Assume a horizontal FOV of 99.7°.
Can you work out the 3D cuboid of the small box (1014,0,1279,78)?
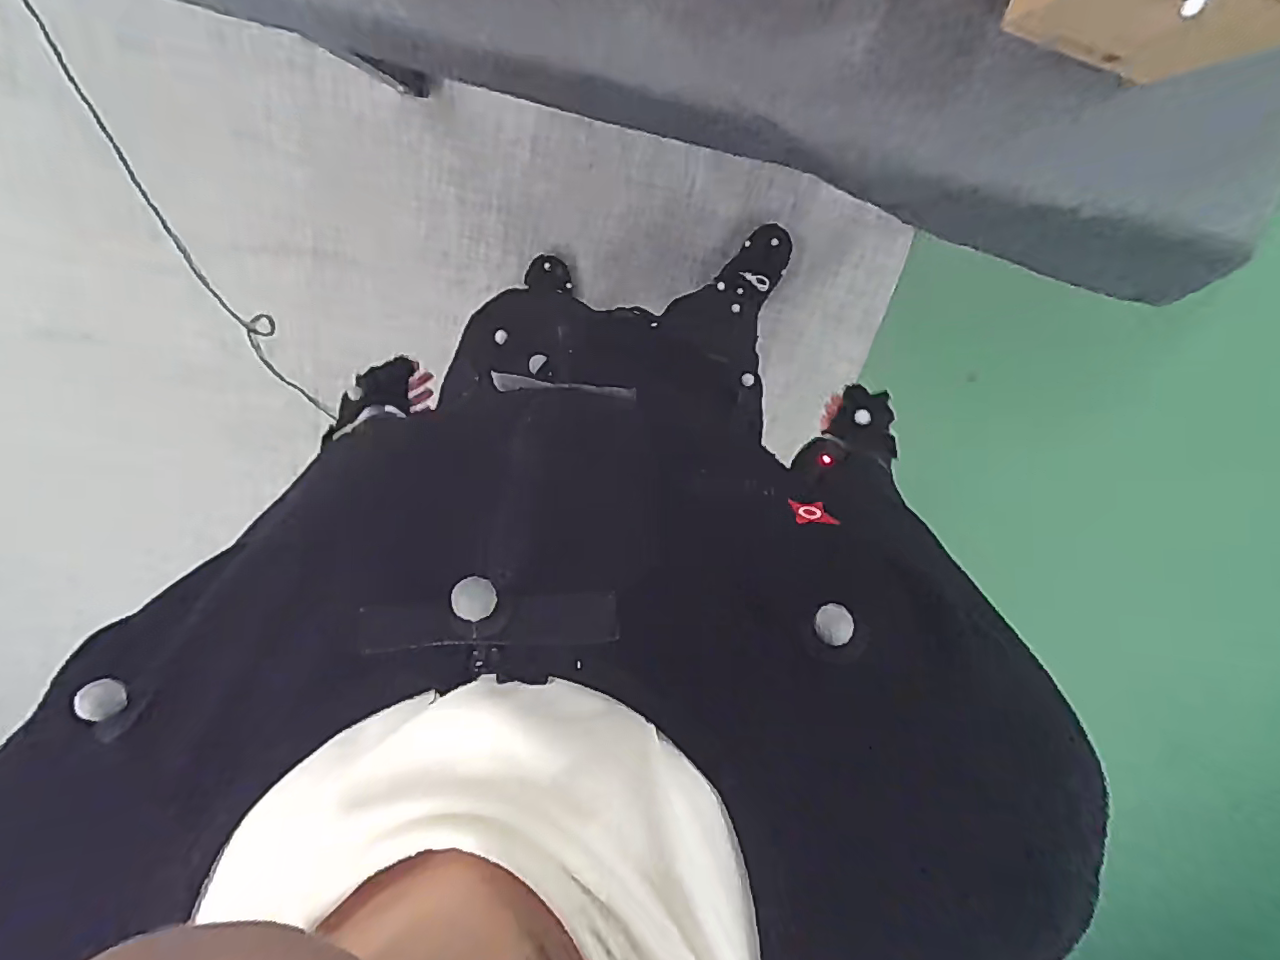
[{"bbox_3d":[0.438,-0.449,0.408,0.168,0.176,0.179,14,114,-7],"label":"small box"}]
